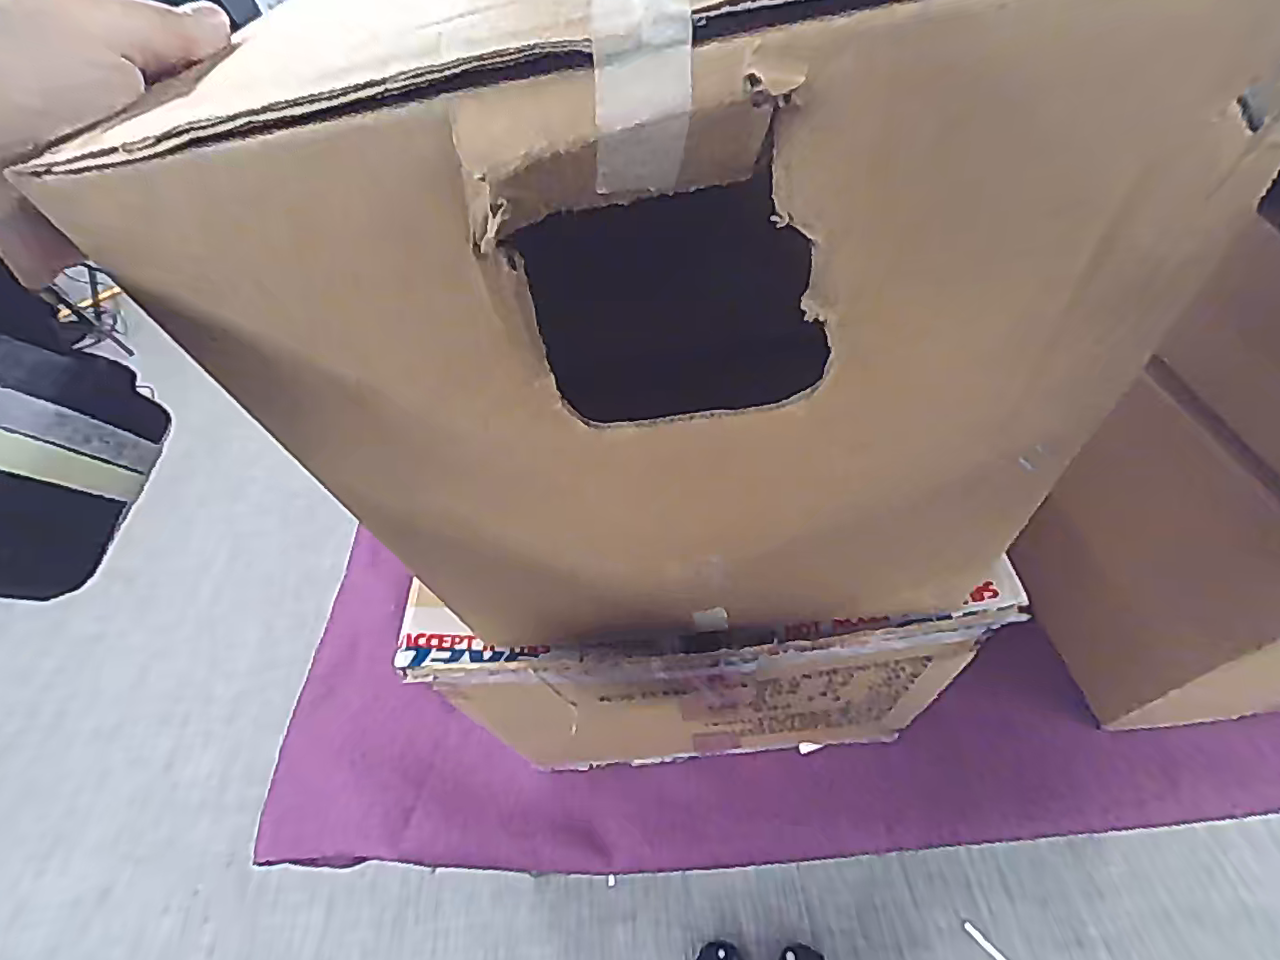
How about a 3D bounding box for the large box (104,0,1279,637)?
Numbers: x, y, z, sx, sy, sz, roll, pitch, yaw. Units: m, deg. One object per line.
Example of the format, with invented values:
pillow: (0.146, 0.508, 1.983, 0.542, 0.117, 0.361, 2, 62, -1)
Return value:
large box: (0.028, -0.154, 0.356, 0.320, 0.320, 0.408, -8, 52, 6)
